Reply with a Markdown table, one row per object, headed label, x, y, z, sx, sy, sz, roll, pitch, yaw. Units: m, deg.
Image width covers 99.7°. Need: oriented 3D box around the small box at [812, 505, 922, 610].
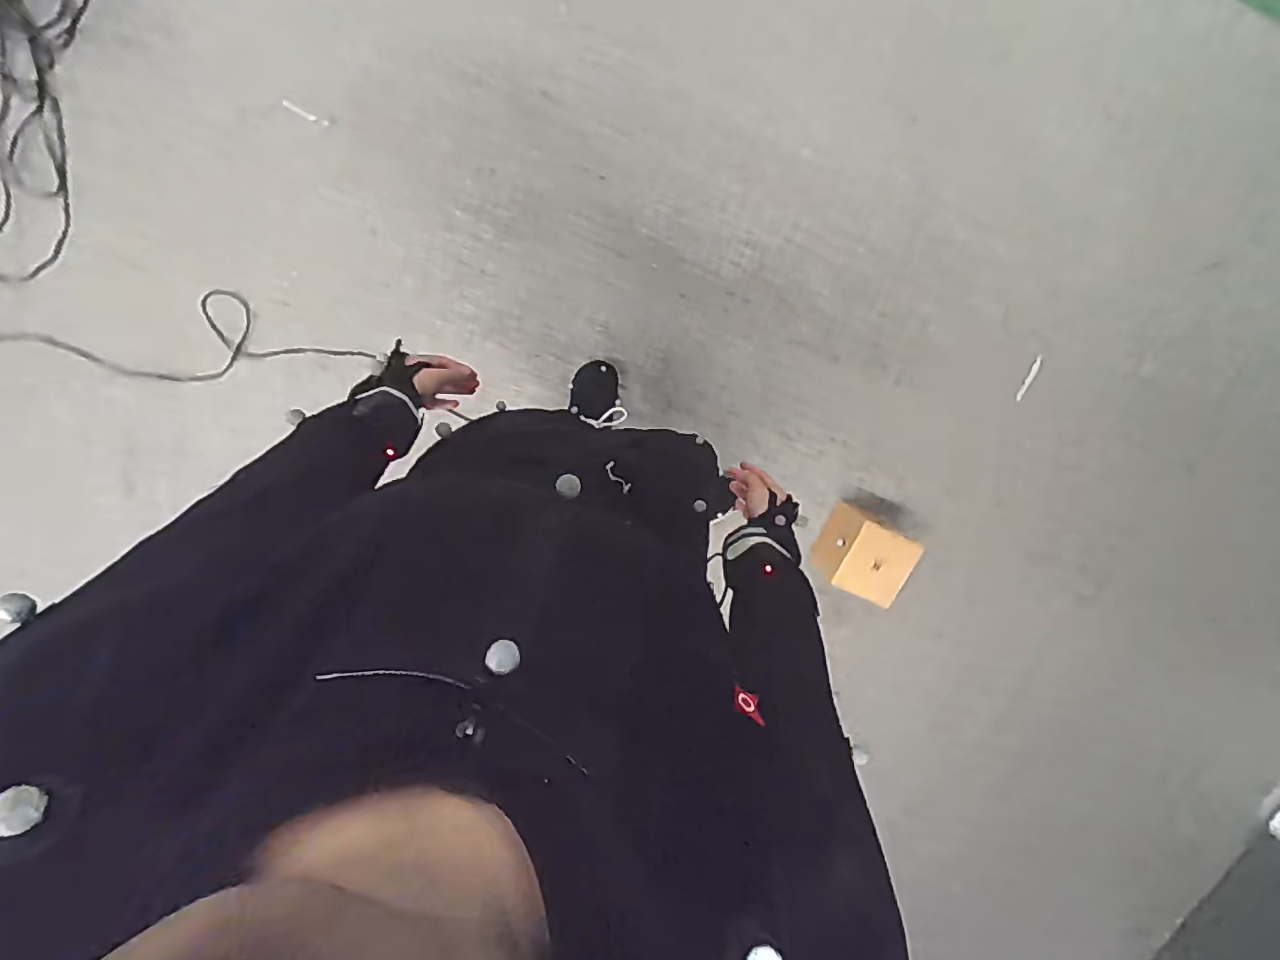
| label | x | y | z | sx | sy | sz | roll | pitch | yaw |
| --- | --- | --- | --- | --- | --- | --- | --- | --- | --- |
| small box | 0.554 | 0.188 | 1.352 | 0.168 | 0.176 | 0.179 | 24 | 102 | -8 |
